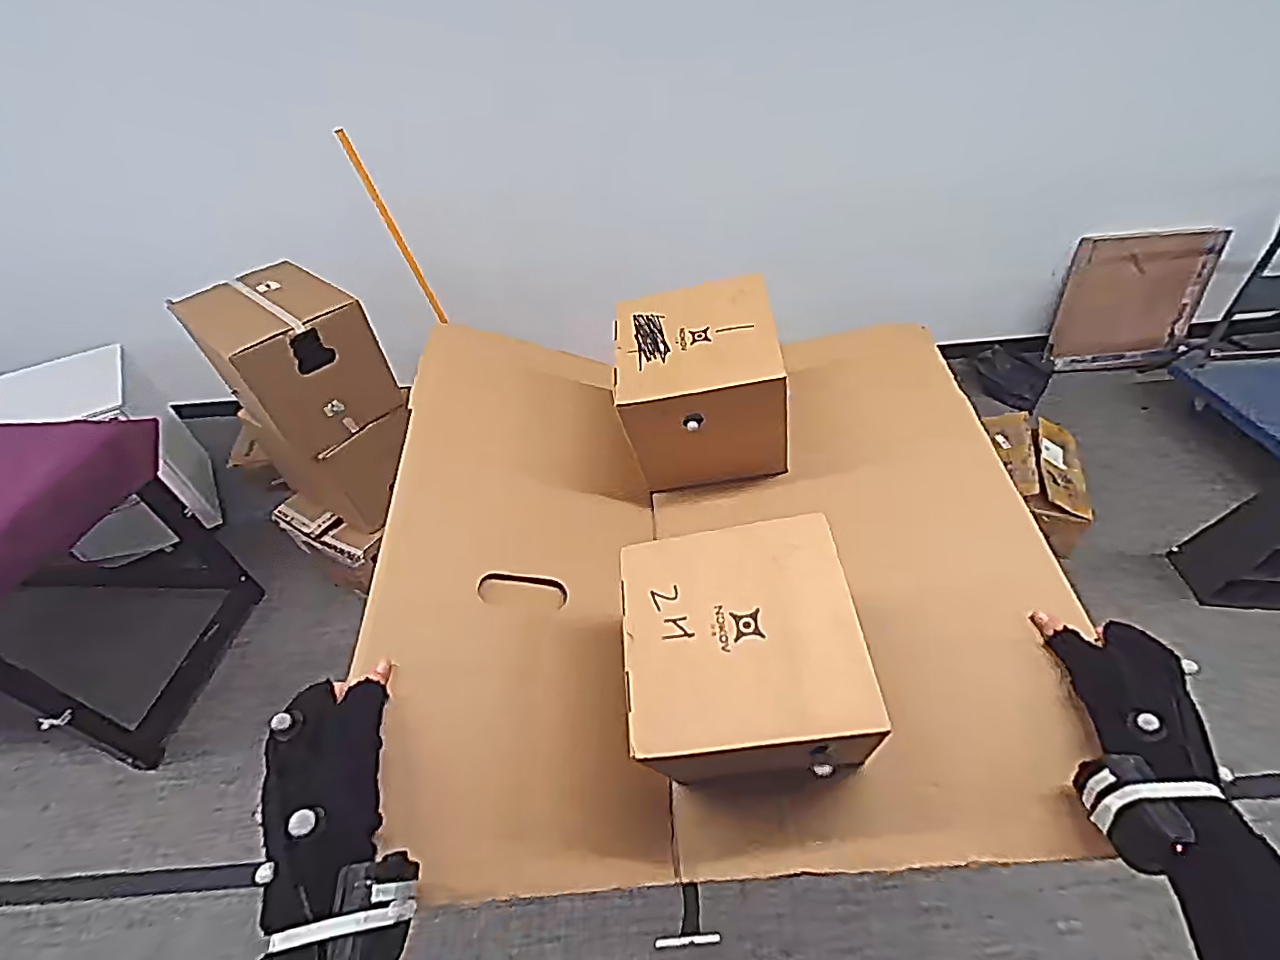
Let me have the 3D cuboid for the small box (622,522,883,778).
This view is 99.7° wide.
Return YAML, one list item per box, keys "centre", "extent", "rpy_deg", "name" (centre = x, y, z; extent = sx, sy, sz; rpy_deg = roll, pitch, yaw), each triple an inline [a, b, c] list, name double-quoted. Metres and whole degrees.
- centre: [0.091, 0.159, 0.478]
  extent: [0.179, 0.176, 0.168]
  rpy_deg: [-11, 54, 10]
  name: "small box"

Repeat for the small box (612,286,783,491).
- centre: [0.073, -0.101, 0.658]
  extent: [0.179, 0.176, 0.168]
  rpy_deg: [-9, 55, 10]
  name: "small box"
